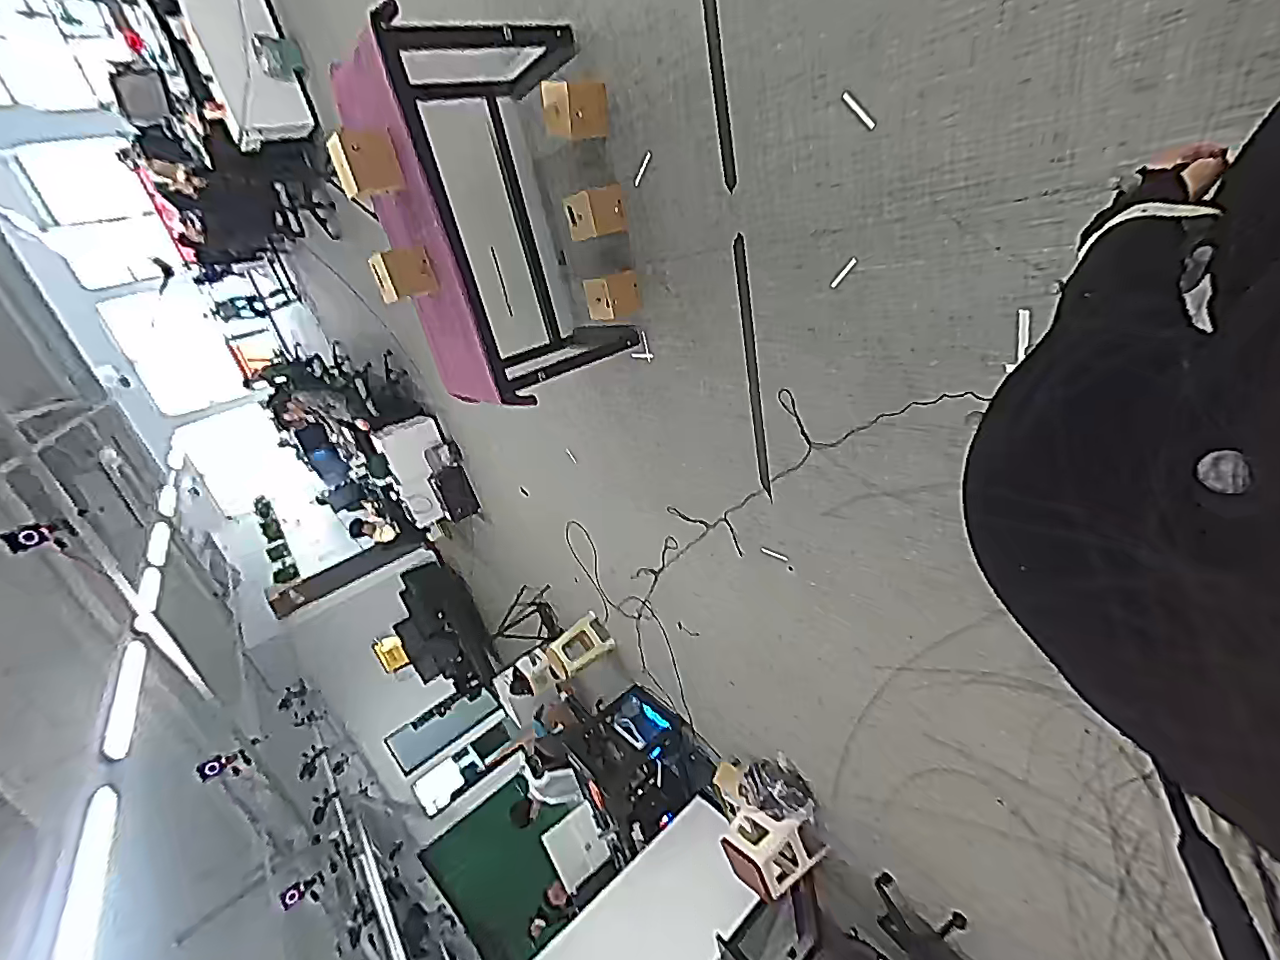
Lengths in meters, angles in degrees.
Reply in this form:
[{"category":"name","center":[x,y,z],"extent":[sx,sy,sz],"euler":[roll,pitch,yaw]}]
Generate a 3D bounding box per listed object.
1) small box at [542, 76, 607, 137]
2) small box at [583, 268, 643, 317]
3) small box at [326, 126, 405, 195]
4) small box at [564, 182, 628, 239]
[{"category":"small box","center":[-0.240,-1.392,2.010],"extent":[0.168,0.176,0.179],"euler":[34,142,37]},{"category":"small box","center":[-0.113,-0.803,2.311],"extent":[0.179,0.176,0.168],"euler":[21,131,49]},{"category":"small box","center":[-0.938,-1.096,1.852],"extent":[0.168,0.176,0.179],"euler":[22,133,49]},{"category":"small box","center":[-0.175,-1.080,2.170],"extent":[0.179,0.176,0.168],"euler":[17,129,49]}]
